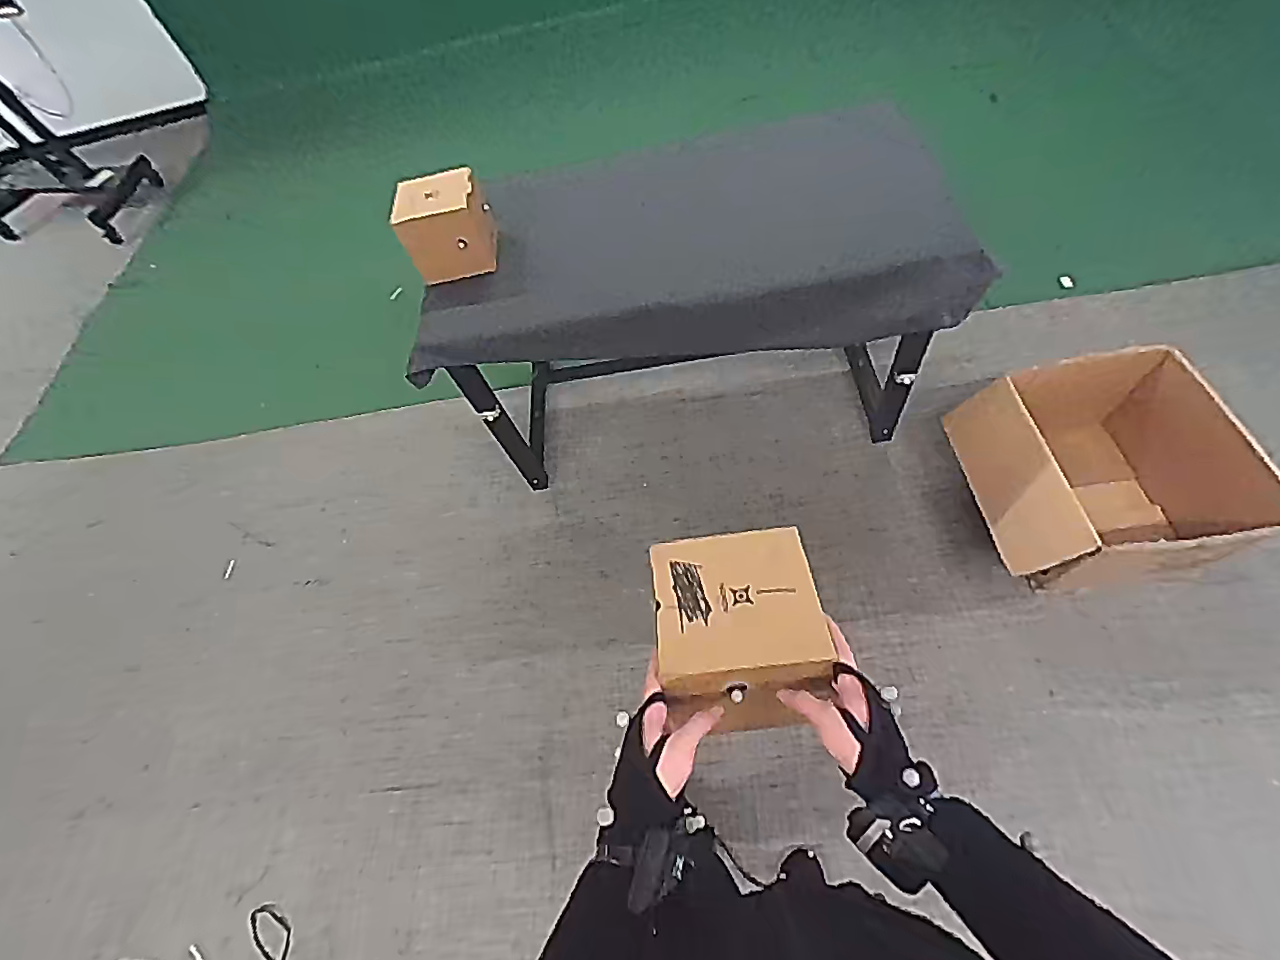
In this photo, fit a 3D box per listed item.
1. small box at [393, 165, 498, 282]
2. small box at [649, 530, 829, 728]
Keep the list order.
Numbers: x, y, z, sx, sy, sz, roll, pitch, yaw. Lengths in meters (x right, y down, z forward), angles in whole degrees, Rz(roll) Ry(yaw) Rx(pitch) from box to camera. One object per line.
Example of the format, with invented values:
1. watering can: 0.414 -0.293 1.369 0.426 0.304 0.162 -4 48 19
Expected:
1. small box: -0.445 -0.596 1.270 0.179 0.176 0.168 -11 58 5
2. small box: 0.110 0.179 0.631 0.179 0.176 0.168 -5 48 7
